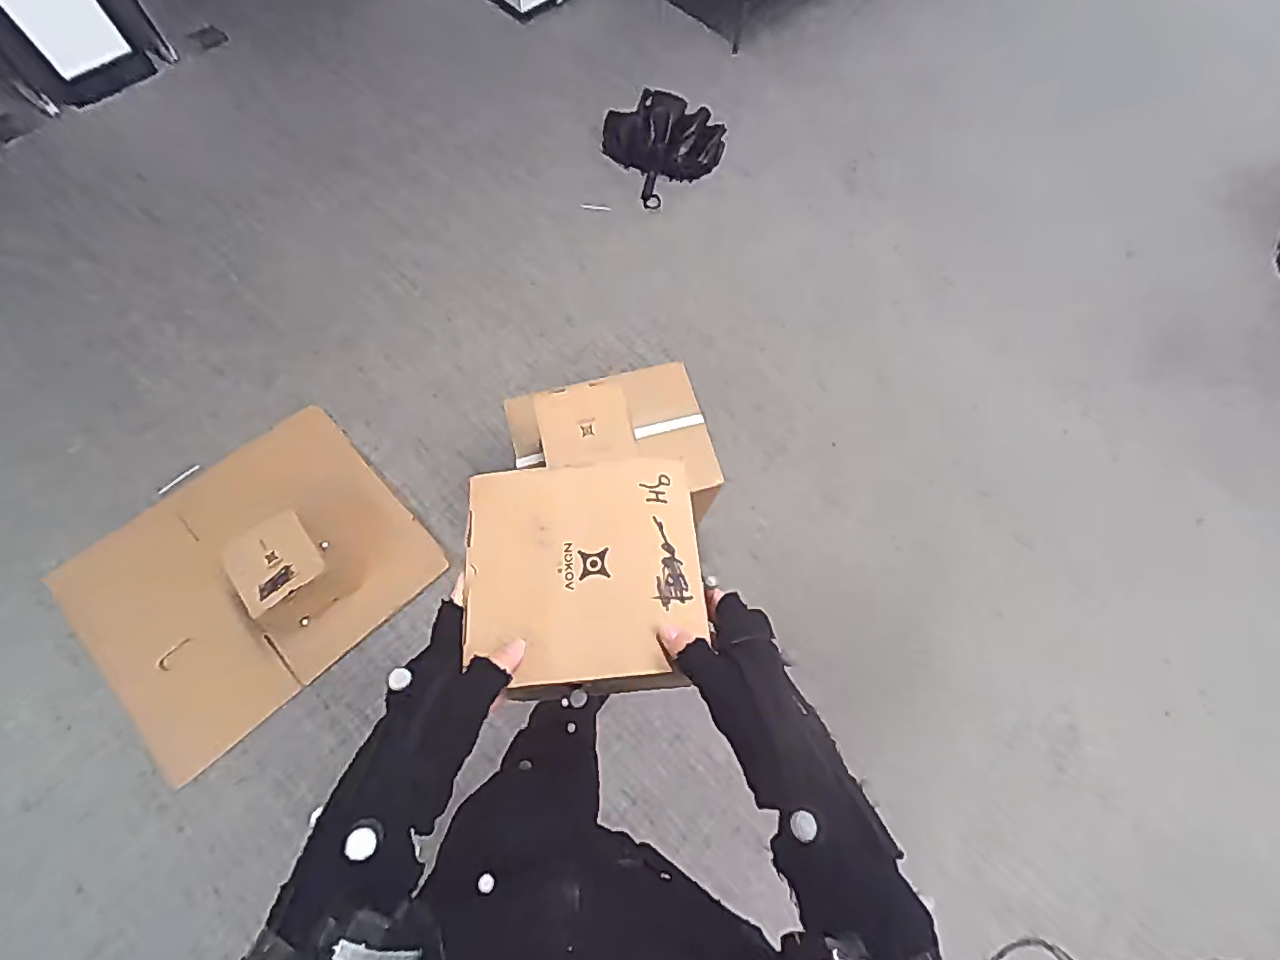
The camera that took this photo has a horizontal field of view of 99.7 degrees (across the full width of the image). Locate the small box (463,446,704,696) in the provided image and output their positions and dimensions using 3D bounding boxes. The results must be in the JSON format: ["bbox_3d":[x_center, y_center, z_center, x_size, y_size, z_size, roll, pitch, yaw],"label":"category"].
[{"bbox_3d":[-0.045,0.091,0.487,0.179,0.176,0.168,-8,63,-2],"label":"small box"}]

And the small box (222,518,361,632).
[{"bbox_3d":[-0.760,0.219,1.199,0.168,0.176,0.179,-36,72,-16],"label":"small box"}]

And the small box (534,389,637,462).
[{"bbox_3d":[-0.100,-0.046,1.037,0.168,0.176,0.179,-13,71,-8],"label":"small box"}]
